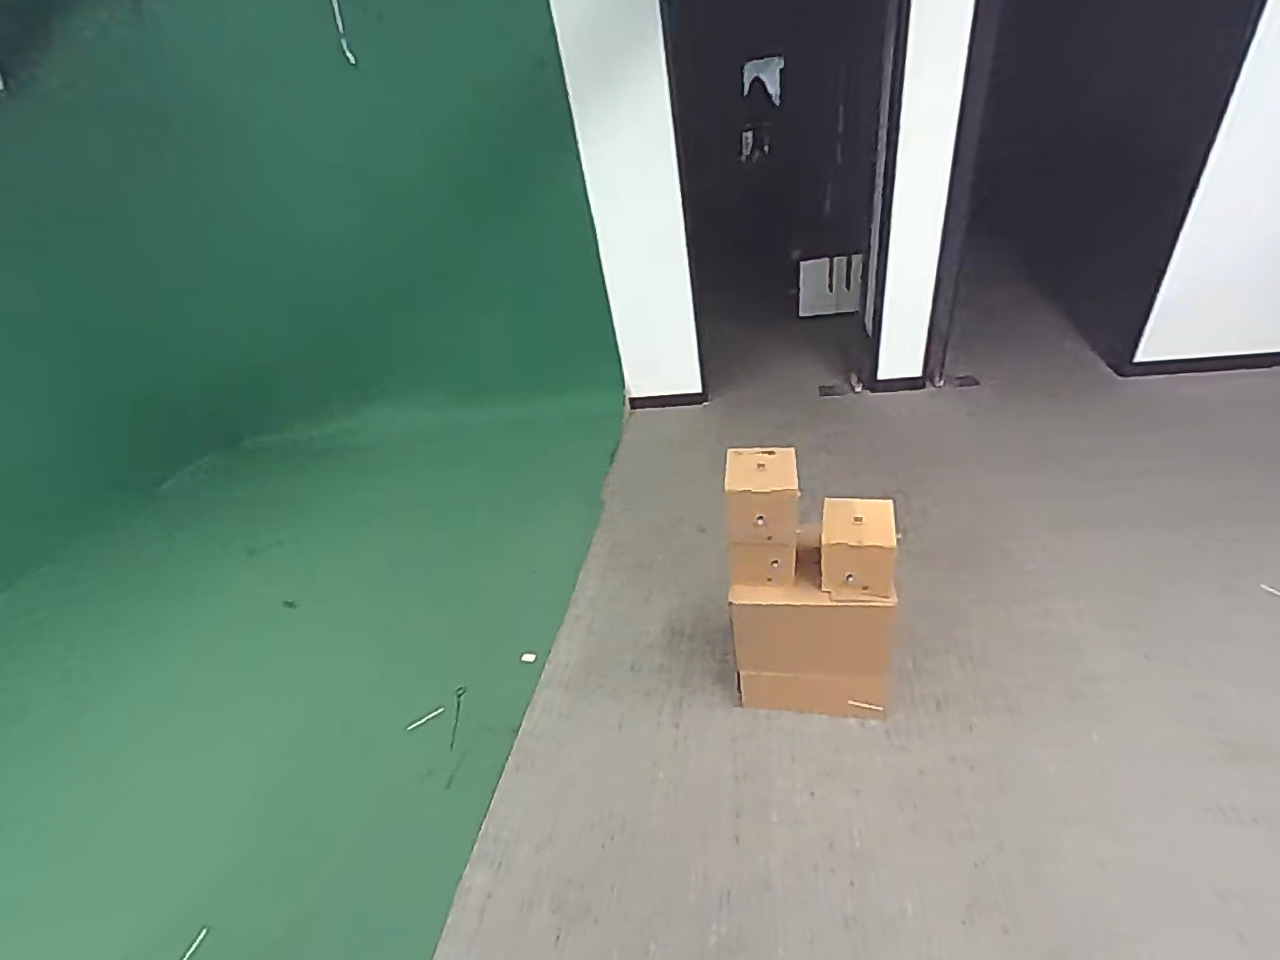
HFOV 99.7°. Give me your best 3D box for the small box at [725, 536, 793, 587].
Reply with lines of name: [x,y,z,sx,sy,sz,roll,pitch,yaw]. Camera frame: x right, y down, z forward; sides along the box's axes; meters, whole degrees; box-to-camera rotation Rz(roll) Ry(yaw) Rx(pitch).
small box: [0.321,0.167,1.438,0.168,0.176,0.179,1,36,14]

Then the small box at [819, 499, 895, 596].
small box: [0.544,0.167,1.368,0.168,0.176,0.179,1,36,20]

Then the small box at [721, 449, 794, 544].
small box: [0.292,0.042,1.335,0.168,0.176,0.179,0,37,12]
